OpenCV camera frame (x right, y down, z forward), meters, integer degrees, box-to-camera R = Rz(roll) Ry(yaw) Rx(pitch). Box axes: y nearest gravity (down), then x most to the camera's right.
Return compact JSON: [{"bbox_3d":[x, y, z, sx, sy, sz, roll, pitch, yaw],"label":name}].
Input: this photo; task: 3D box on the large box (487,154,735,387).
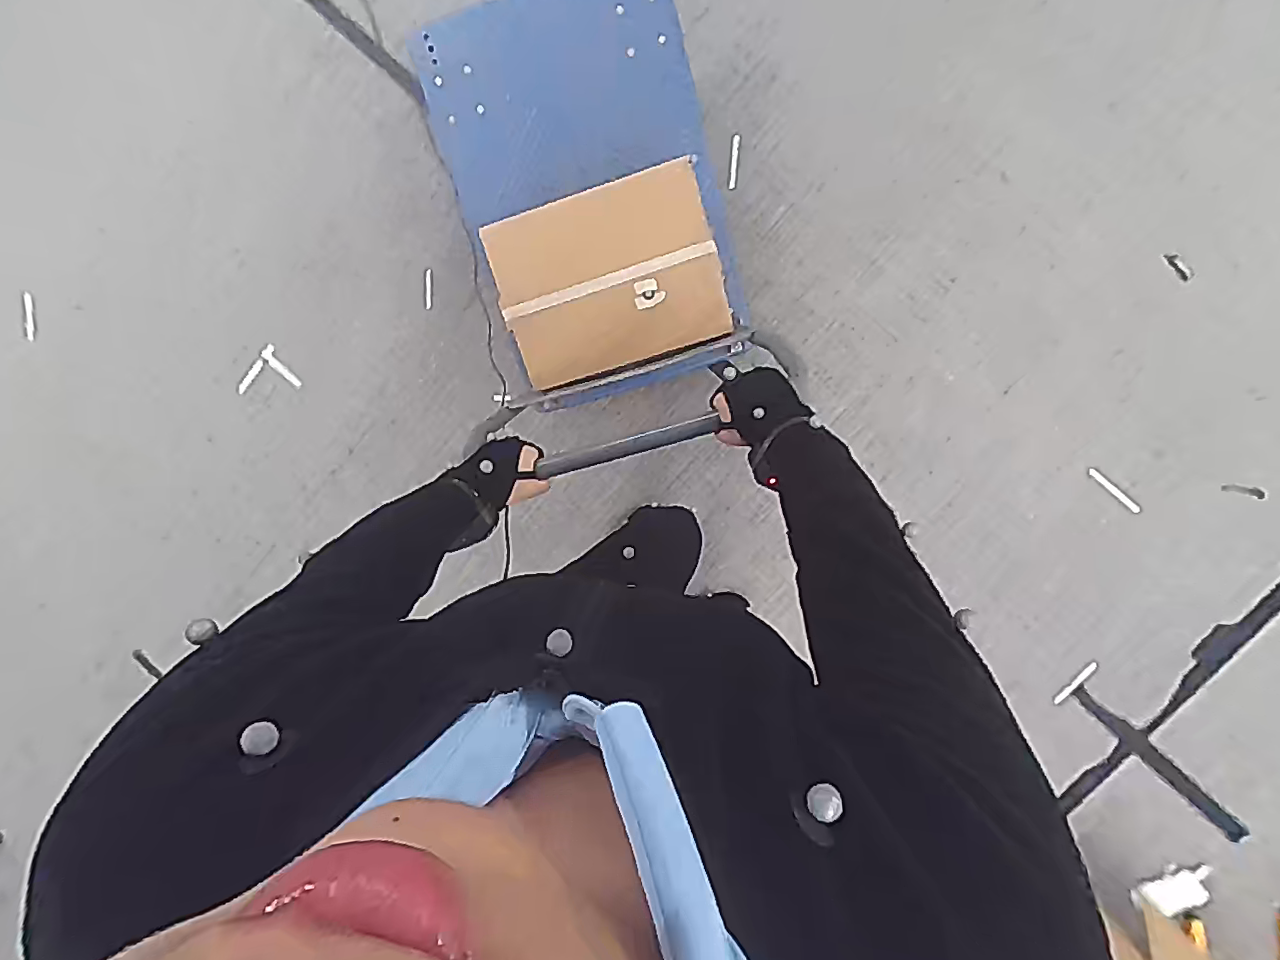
[{"bbox_3d":[-0.048,-0.417,1.157,0.408,0.320,0.320,-17,104,6],"label":"large box"}]
